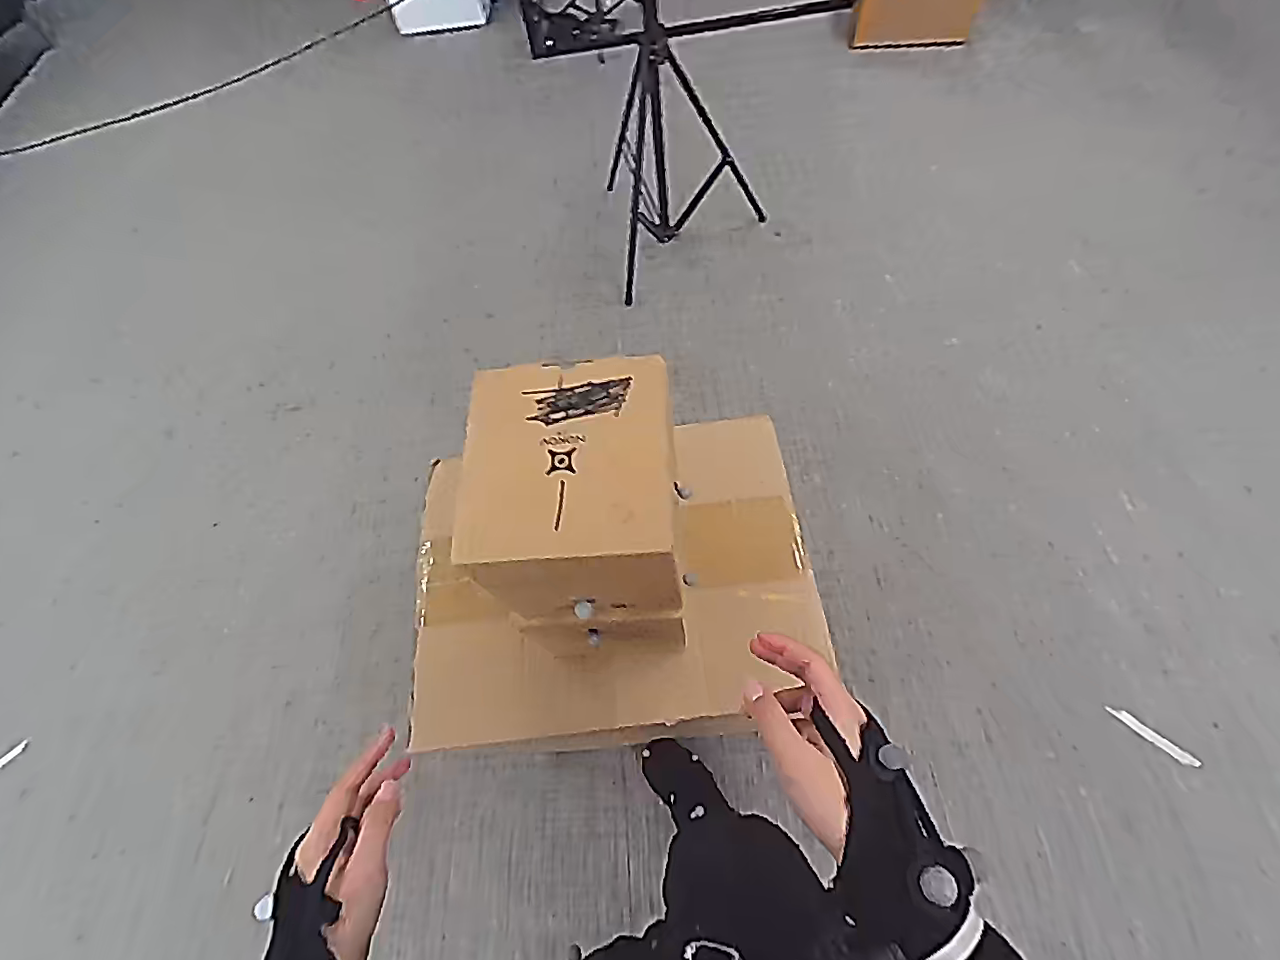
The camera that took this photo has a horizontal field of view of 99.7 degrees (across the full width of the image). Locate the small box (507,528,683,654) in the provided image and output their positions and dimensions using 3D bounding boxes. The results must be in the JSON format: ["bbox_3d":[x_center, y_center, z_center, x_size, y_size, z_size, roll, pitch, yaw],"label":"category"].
[{"bbox_3d":[-0.041,0.106,0.636,0.179,0.176,0.168,-5,63,5],"label":"small box"}]

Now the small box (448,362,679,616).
[{"bbox_3d":[-0.053,0.017,0.497,0.168,0.176,0.179,-4,63,5],"label":"small box"}]
